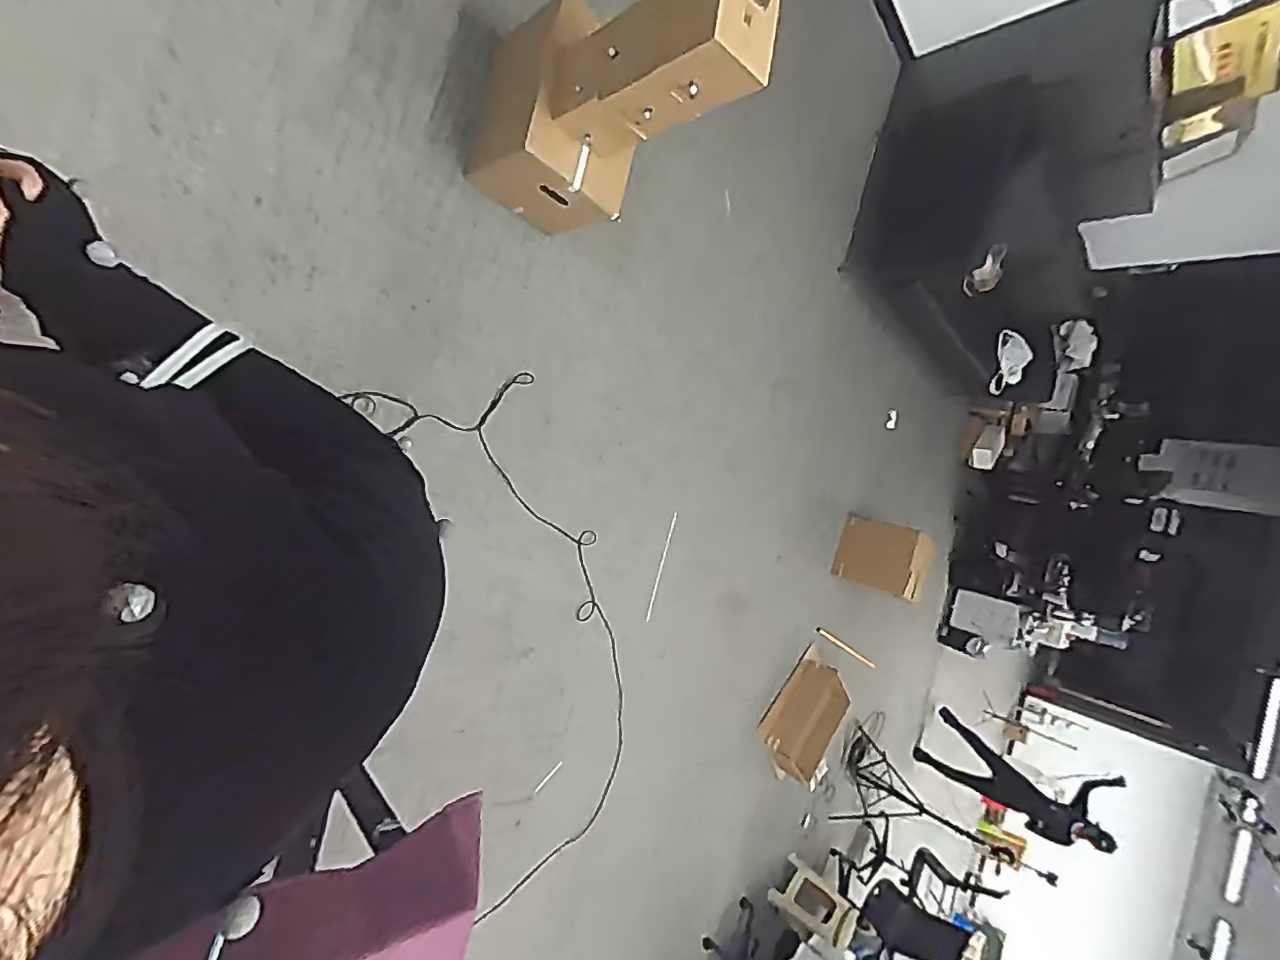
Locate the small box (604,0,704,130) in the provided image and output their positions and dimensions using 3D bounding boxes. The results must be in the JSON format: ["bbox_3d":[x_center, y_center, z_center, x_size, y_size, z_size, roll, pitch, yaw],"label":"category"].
[{"bbox_3d":[0.040,-0.903,1.176,0.168,0.176,0.179,4,97,-43],"label":"small box"}]

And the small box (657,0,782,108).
[{"bbox_3d":[0.152,-0.878,1.056,0.168,0.176,0.179,4,97,-43],"label":"small box"}]
